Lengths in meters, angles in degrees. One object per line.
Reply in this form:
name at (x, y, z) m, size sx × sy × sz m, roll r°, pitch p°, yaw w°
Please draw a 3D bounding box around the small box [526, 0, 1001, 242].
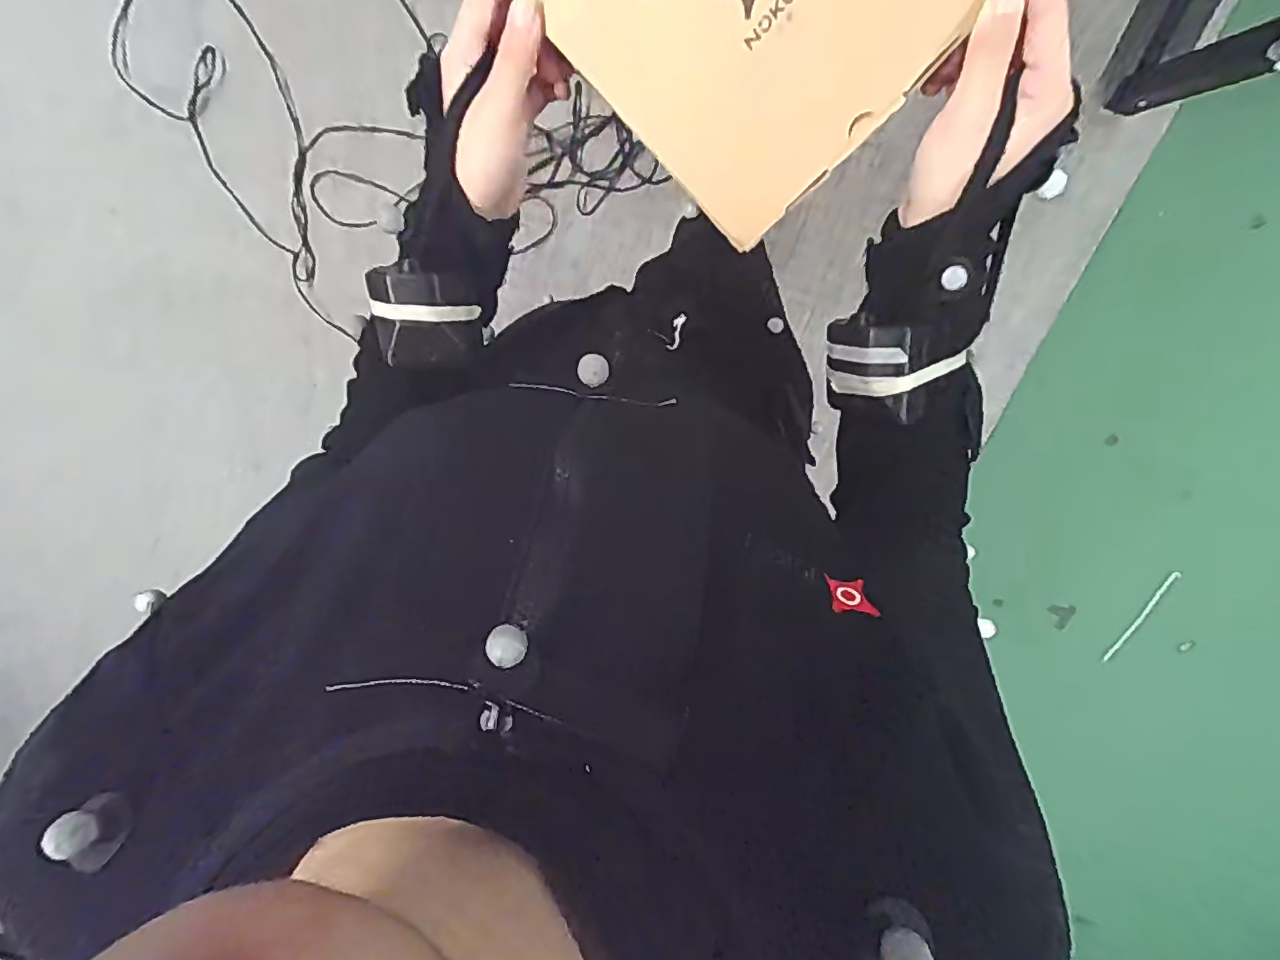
small box at (0.066, -0.279, 0.316) m, size 0.179 × 0.176 × 0.168 m, roll 38°, pitch 123°, yaw -19°
